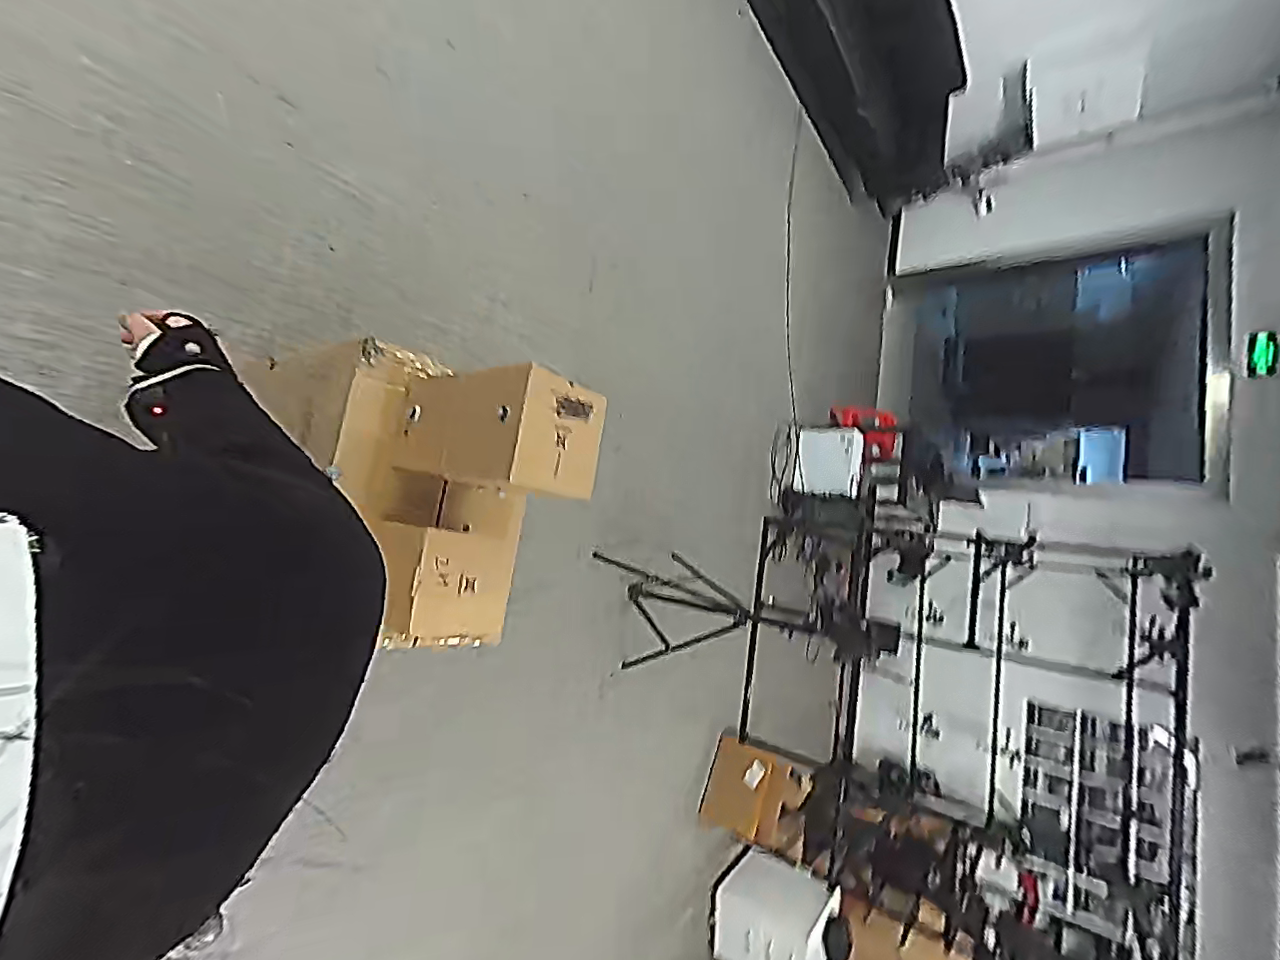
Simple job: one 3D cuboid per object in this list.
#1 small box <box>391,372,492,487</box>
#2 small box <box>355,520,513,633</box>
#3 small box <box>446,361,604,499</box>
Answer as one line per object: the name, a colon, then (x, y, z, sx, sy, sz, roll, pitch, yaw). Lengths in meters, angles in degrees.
small box: (-0.310, -0.083, 0.969, 0.179, 0.176, 0.168, 17, 78, -49)
small box: (-0.352, 0.164, 0.929, 0.179, 0.176, 0.168, 18, 76, -50)
small box: (-0.184, -0.074, 0.864, 0.168, 0.176, 0.179, 17, 80, -50)
